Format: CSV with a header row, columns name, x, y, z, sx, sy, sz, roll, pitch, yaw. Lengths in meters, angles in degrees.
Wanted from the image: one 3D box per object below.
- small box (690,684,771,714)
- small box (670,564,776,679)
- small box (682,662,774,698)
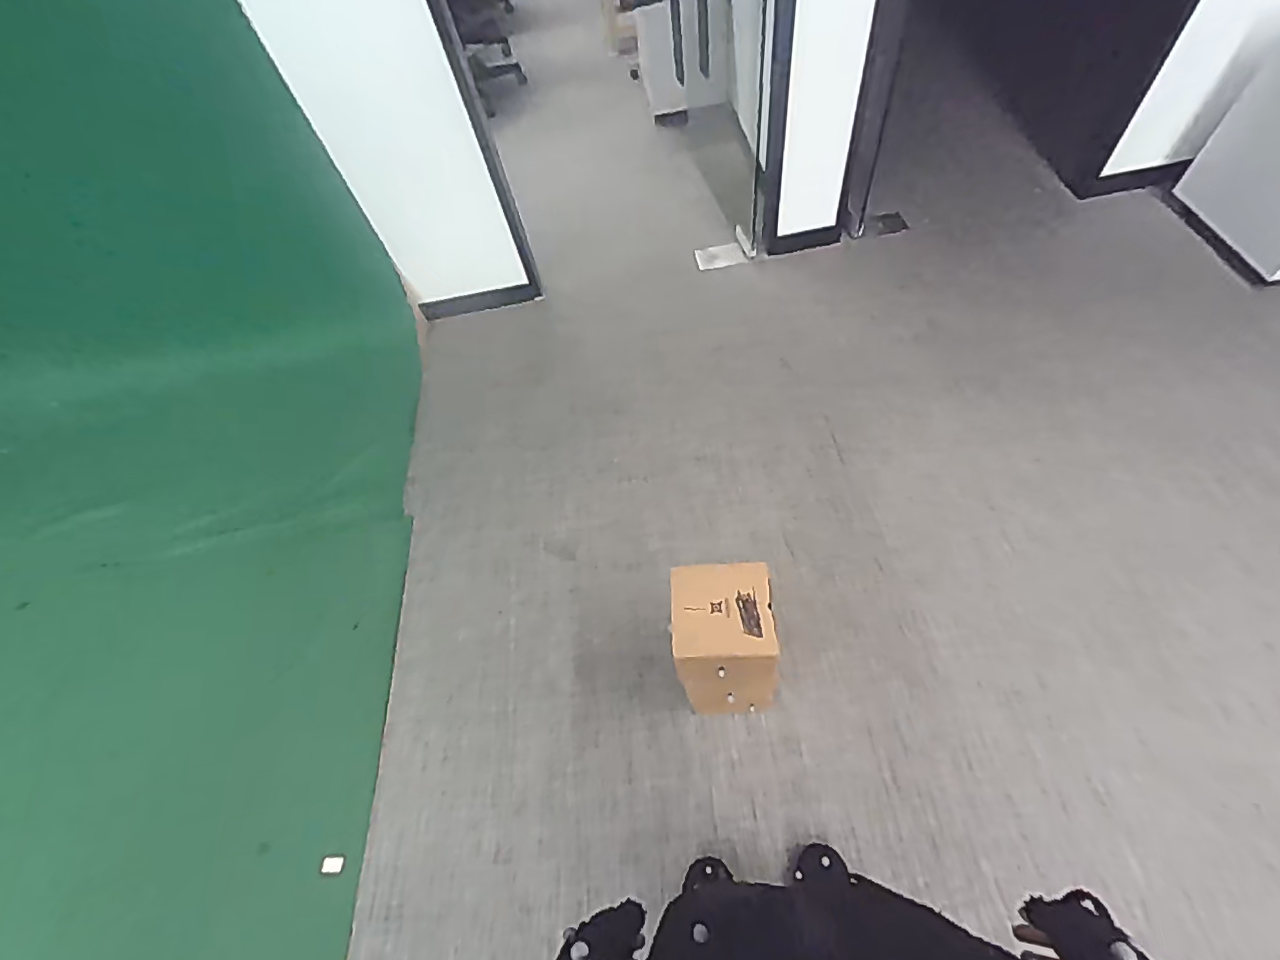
name,x,y,z,sx,sy,sz,roll,pitch,yaw
small box,0.202,0.444,1.269,0.179,0.176,0.168,-7,56,6
small box,0.150,0.265,0.999,0.179,0.176,0.168,-4,57,9
small box,0.176,0.354,1.135,0.179,0.176,0.168,-5,57,6
